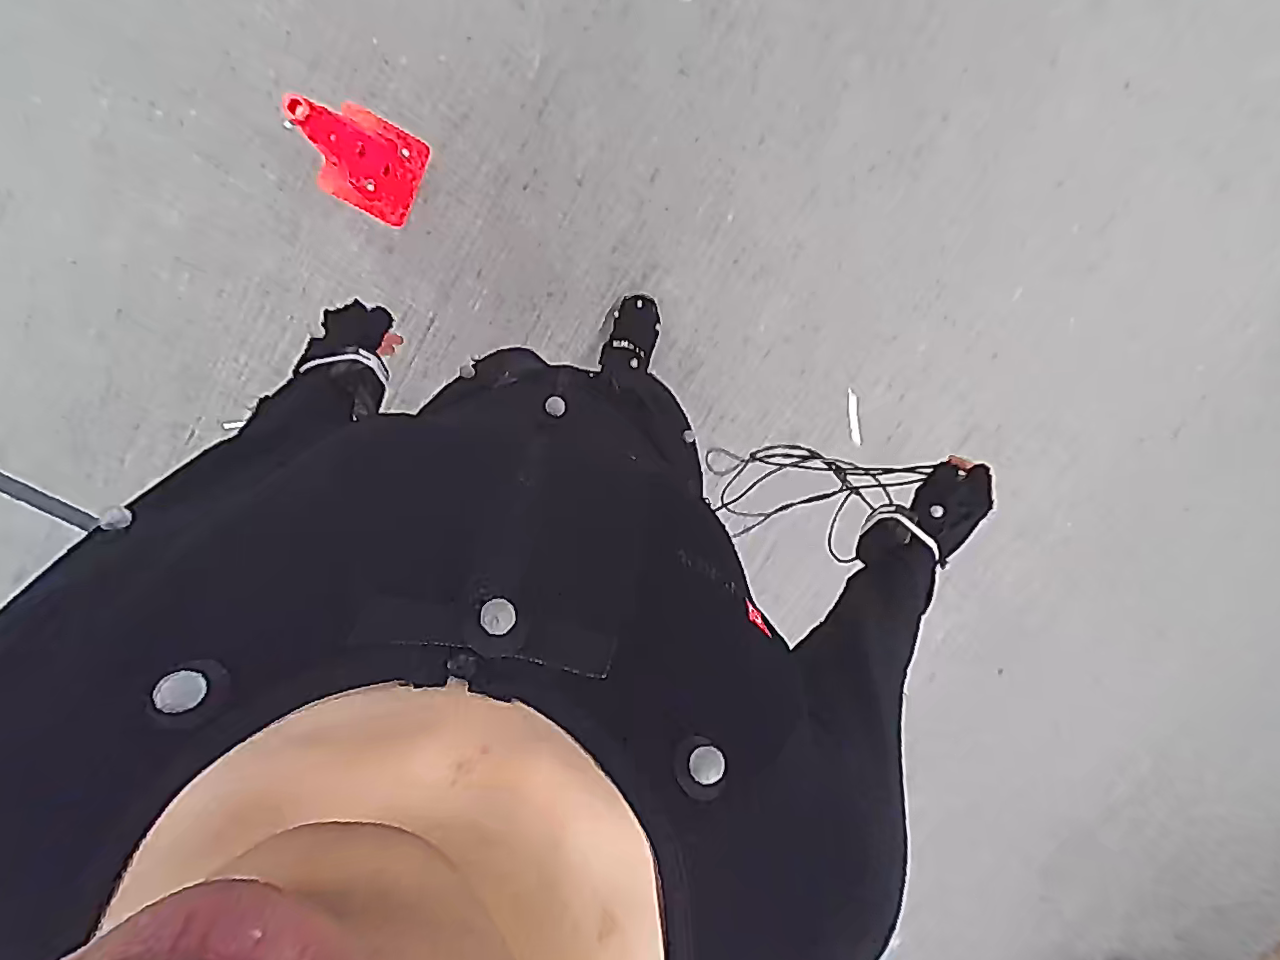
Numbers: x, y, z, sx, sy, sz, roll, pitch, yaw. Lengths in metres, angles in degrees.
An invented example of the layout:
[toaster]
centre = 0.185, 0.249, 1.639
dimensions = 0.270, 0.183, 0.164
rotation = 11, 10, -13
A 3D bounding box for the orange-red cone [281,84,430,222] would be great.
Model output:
[orange-red cone]
centre = -0.583, -0.670, 1.052
dimensions = 0.199, 0.360, 0.198
rotation = 27, 101, -10
